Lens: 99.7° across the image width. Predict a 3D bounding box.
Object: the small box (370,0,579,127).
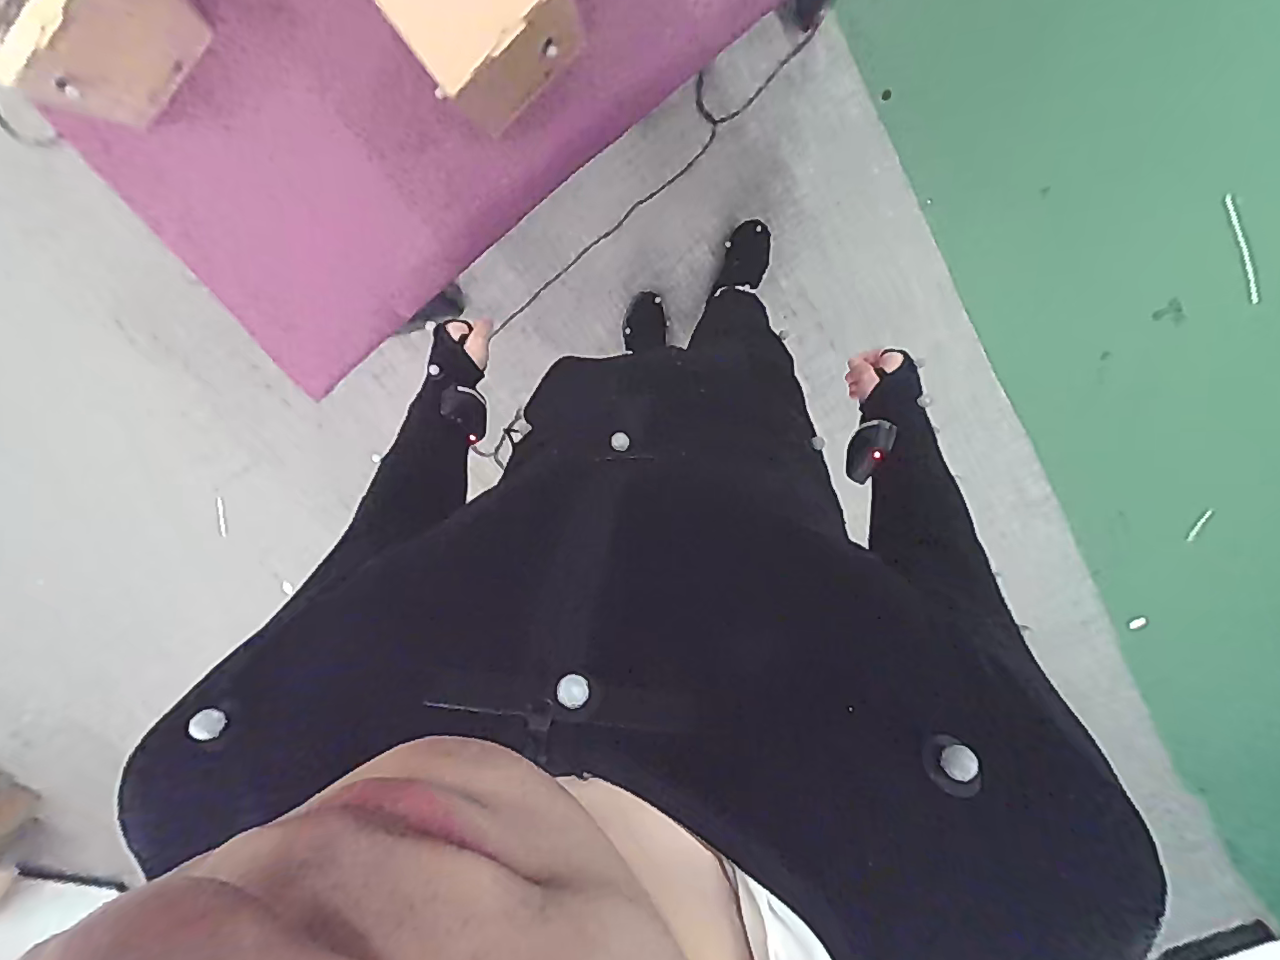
[{"bbox_3d":[-0.187,-0.534,0.602,0.168,0.176,0.179,-37,104,13],"label":"small box"}]
